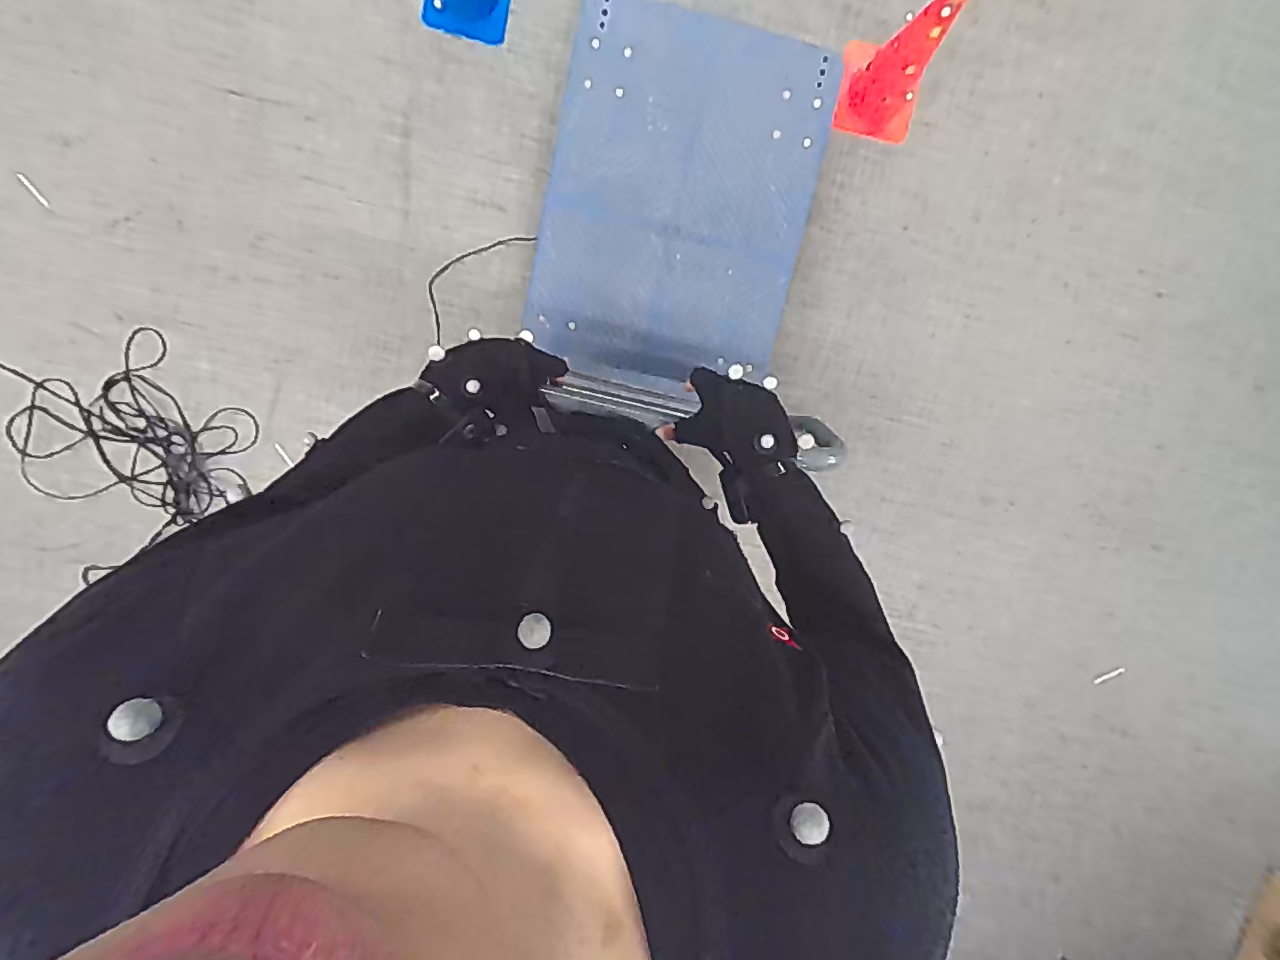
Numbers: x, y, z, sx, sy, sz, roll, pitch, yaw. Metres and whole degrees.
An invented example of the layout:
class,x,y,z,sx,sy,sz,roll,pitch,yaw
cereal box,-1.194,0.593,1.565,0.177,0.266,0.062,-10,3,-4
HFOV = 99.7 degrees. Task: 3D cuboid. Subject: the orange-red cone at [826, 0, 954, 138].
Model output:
class,x,y,z,sx,sy,sz,roll,pitch,yaw
orange-red cone,0.574,-0.939,1.168,0.199,0.360,0.198,13,99,-2
